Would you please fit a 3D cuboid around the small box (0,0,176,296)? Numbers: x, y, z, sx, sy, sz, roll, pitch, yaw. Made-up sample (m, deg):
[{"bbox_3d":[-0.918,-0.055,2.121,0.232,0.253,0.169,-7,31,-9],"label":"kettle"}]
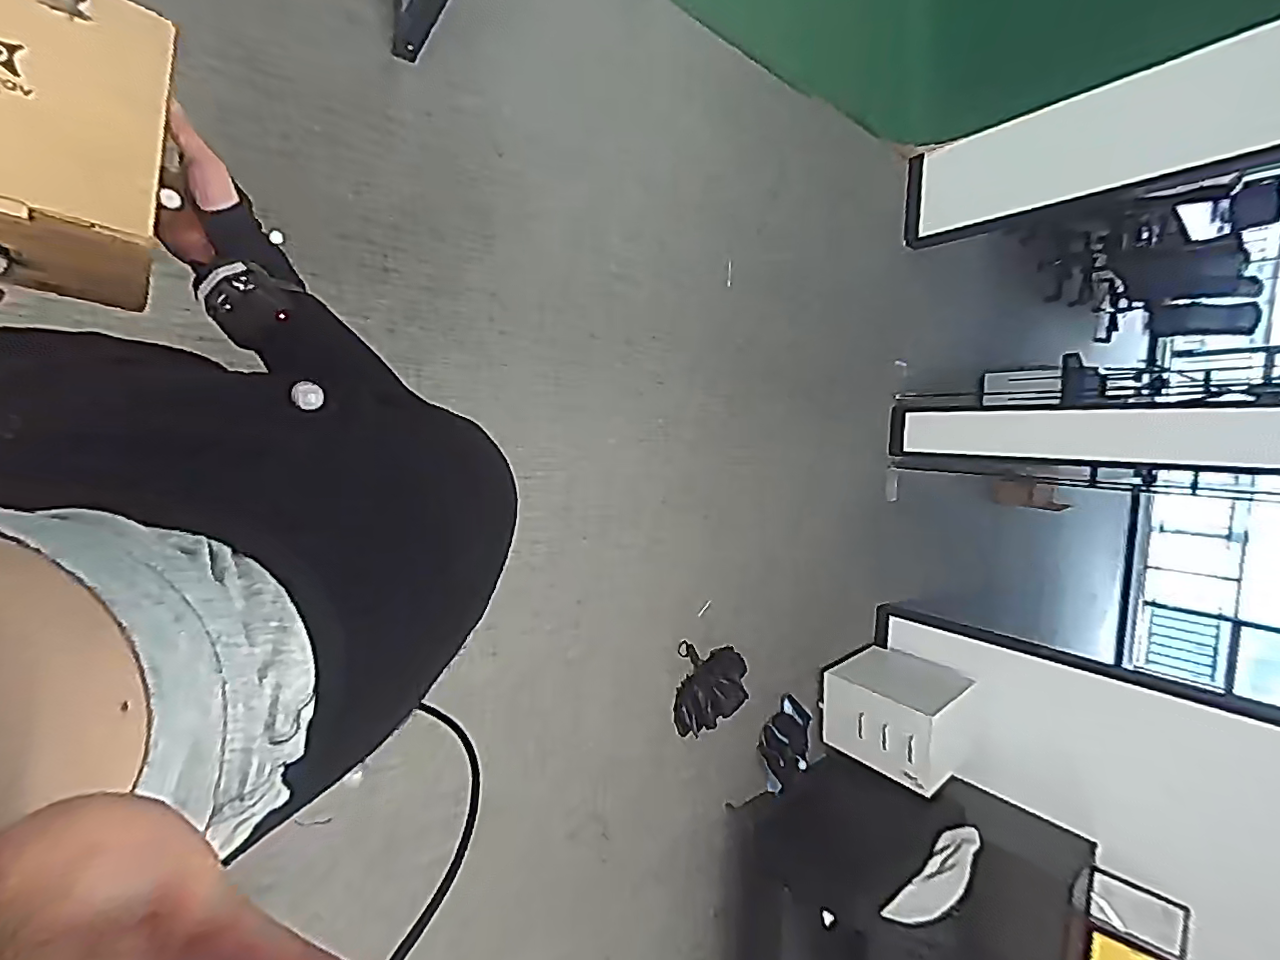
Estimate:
[{"bbox_3d":[-0.459,-0.257,0.396,0.168,0.176,0.179,5,84,-44],"label":"small box"}]
